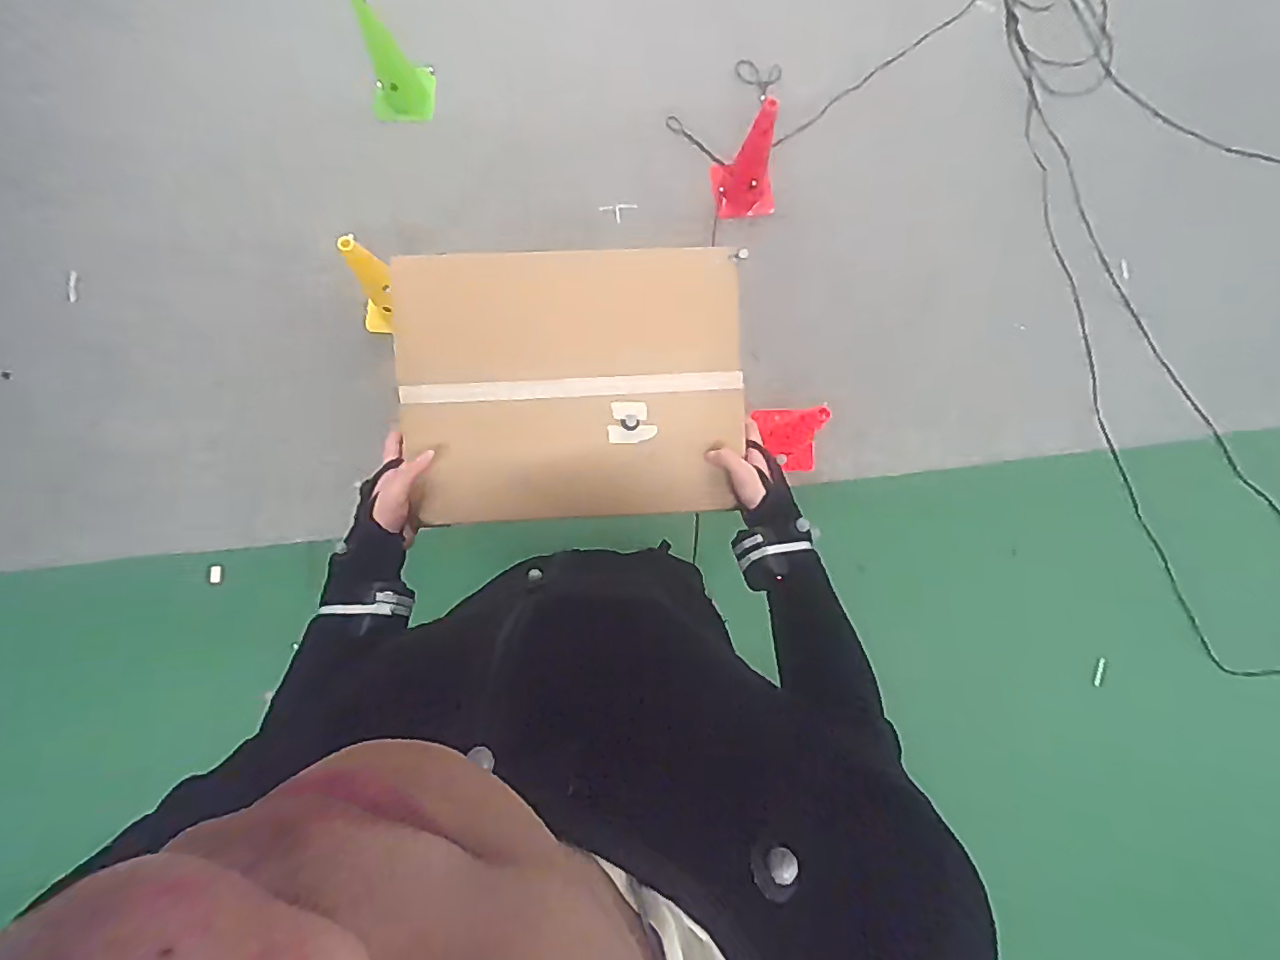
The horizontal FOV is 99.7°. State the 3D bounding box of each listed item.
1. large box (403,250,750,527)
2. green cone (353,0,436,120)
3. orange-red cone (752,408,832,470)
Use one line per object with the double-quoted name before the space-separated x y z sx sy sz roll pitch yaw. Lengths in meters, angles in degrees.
"large box" -0.080 -0.119 0.798 0.408 0.320 0.320 -4 95 -3
"green cone" -0.787 -1.327 1.653 0.200 0.368 0.202 0 84 -2
"orange-red cone" 0.466 -0.149 1.552 0.199 0.360 0.198 1 84 -4
